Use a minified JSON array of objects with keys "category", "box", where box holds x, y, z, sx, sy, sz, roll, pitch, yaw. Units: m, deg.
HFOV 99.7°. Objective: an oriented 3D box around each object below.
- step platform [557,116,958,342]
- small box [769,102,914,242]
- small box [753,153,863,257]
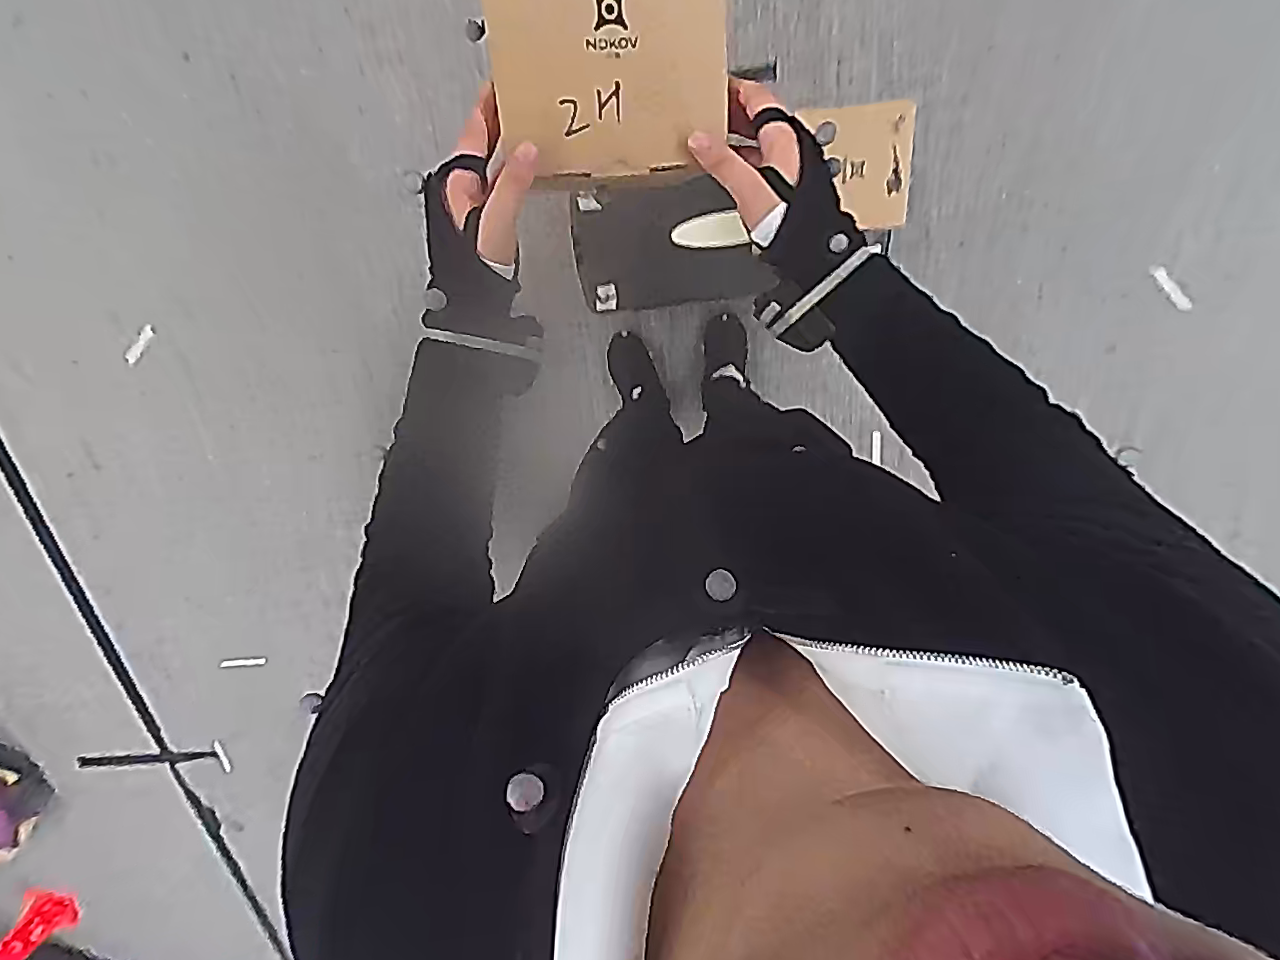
[{"category":"step platform","box":[0.201,-0.450,1.019,0.684,0.204,0.286,-7,110,3]},{"category":"small box","box":[0.309,-0.482,0.870,0.179,0.176,0.168,-3,110,2]},{"category":"small box","box":[0.311,-0.522,1.030,0.179,0.176,0.168,-5,110,4]}]
